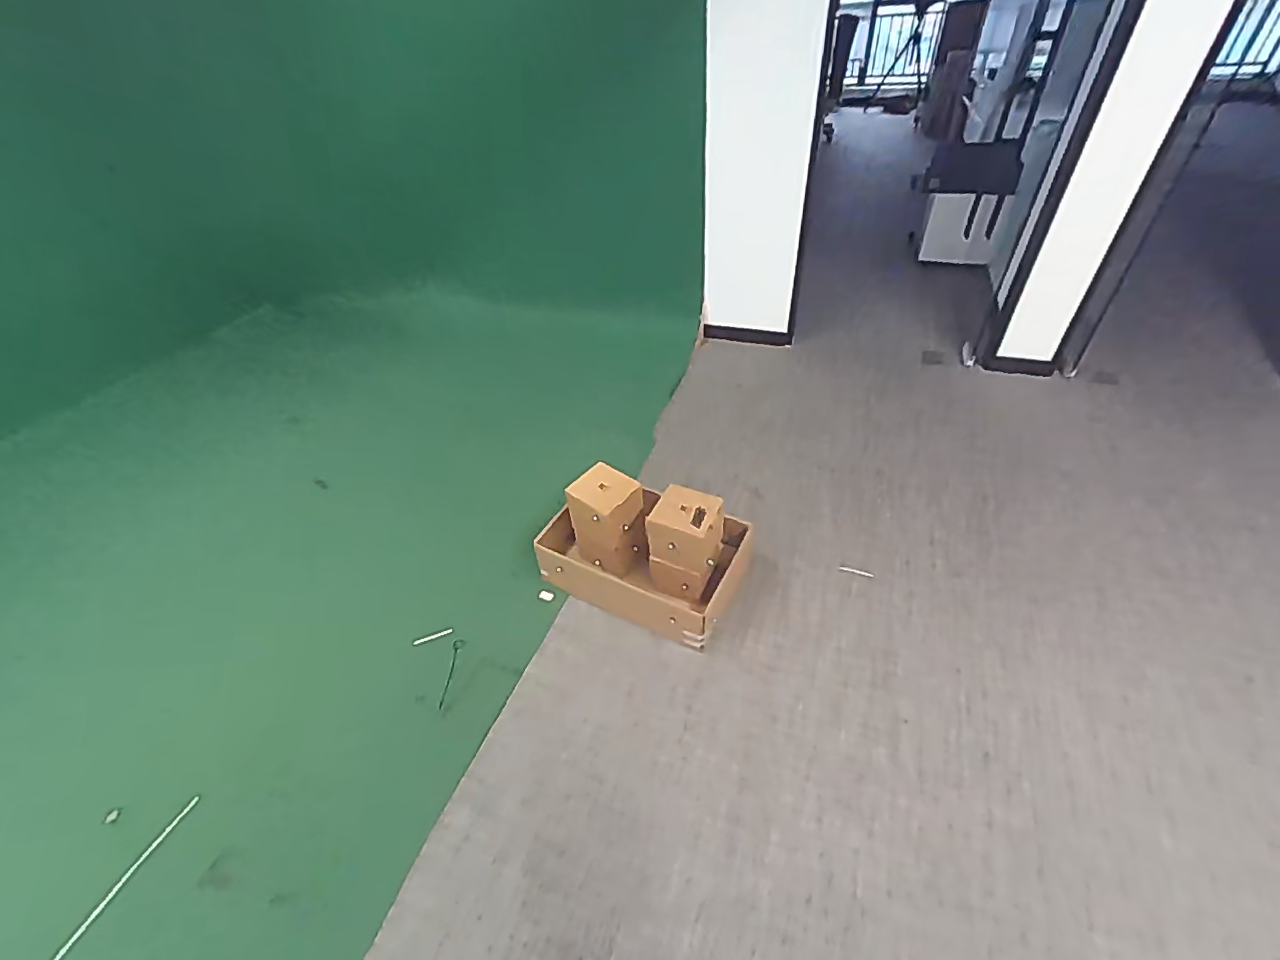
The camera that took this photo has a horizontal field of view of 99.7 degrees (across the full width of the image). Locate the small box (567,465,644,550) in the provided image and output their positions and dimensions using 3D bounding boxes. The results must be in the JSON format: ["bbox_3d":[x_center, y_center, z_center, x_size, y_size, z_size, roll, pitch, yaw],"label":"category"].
[{"bbox_3d":[-0.104,0.088,1.701,0.179,0.176,0.168,29,52,28],"label":"small box"}]

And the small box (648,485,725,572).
[{"bbox_3d":[0.143,0.148,1.606,0.179,0.176,0.168,16,48,24],"label":"small box"}]
